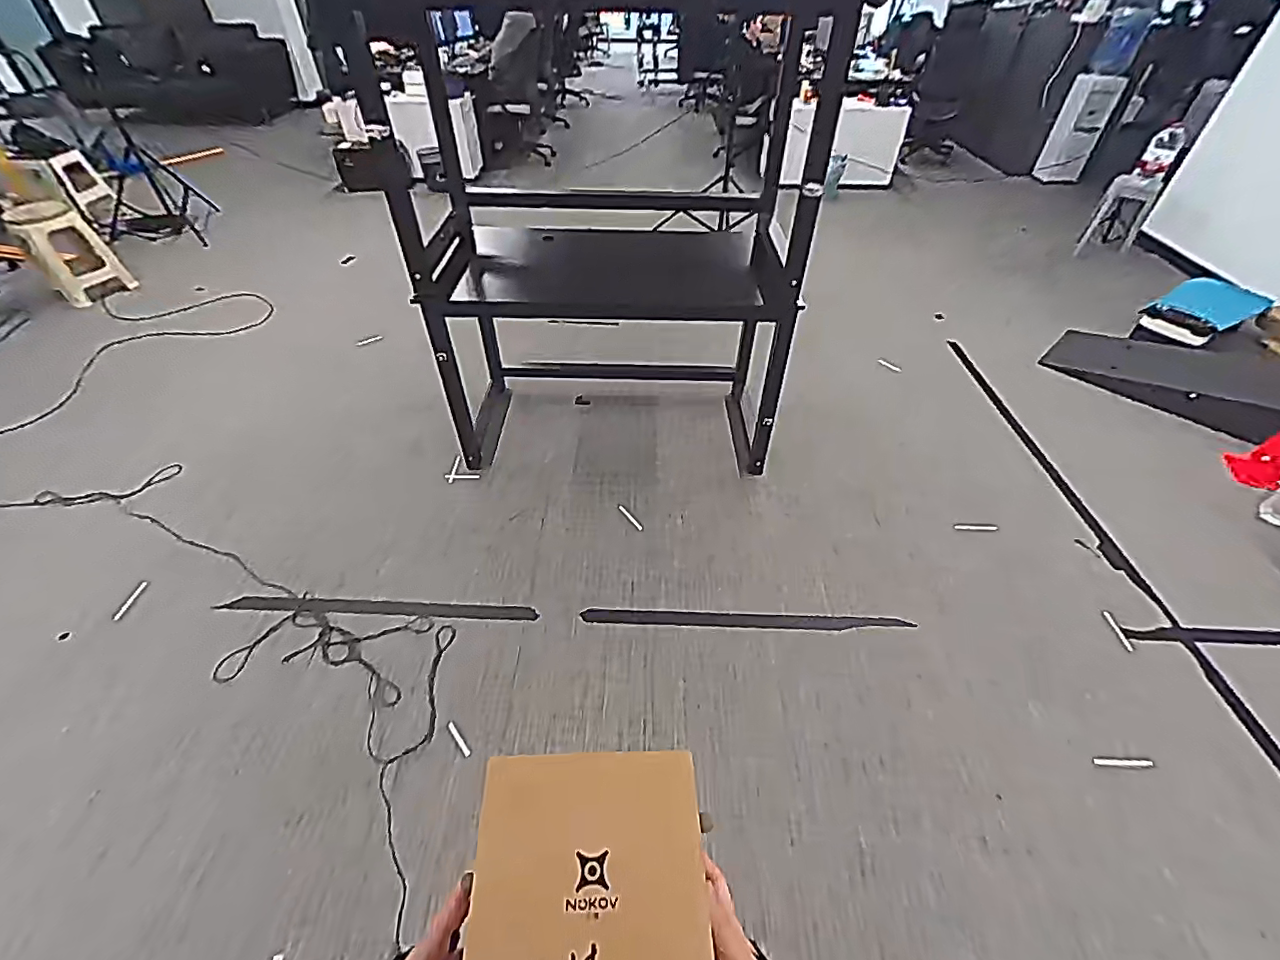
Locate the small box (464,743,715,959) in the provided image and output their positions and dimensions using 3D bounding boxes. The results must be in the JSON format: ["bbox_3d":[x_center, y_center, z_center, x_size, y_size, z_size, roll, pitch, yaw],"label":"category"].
[{"bbox_3d":[-0.039,0.334,0.438,0.168,0.176,0.179,0,47,-4],"label":"small box"}]
